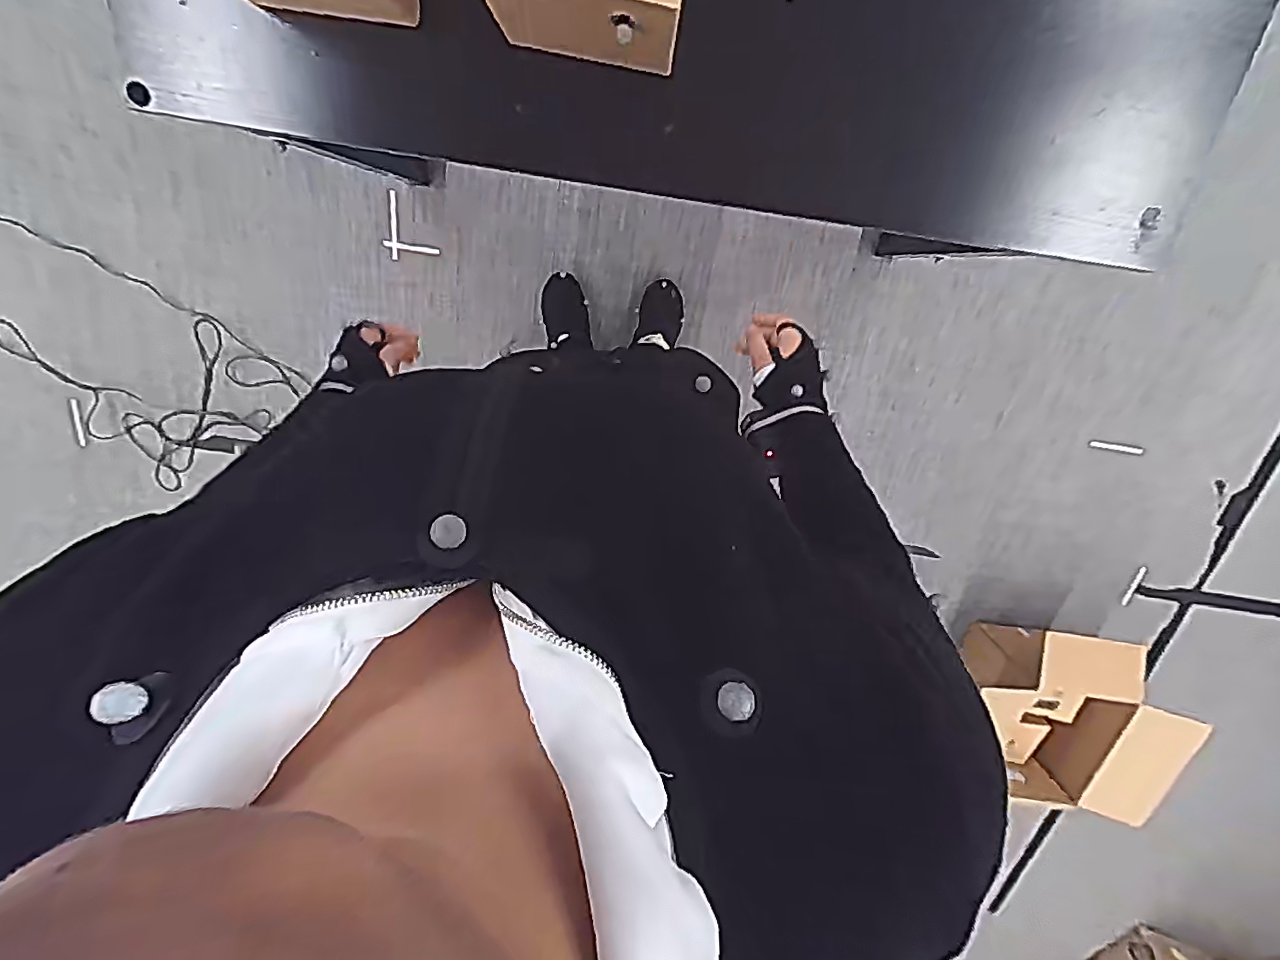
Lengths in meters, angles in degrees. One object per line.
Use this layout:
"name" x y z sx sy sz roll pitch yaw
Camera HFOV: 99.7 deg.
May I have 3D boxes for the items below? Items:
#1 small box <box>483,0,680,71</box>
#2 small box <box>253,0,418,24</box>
"small box" -0.043 -0.496 0.479 0.179 0.176 0.168 9 111 -3
"small box" -0.313 -0.532 0.466 0.179 0.176 0.168 6 112 -2
